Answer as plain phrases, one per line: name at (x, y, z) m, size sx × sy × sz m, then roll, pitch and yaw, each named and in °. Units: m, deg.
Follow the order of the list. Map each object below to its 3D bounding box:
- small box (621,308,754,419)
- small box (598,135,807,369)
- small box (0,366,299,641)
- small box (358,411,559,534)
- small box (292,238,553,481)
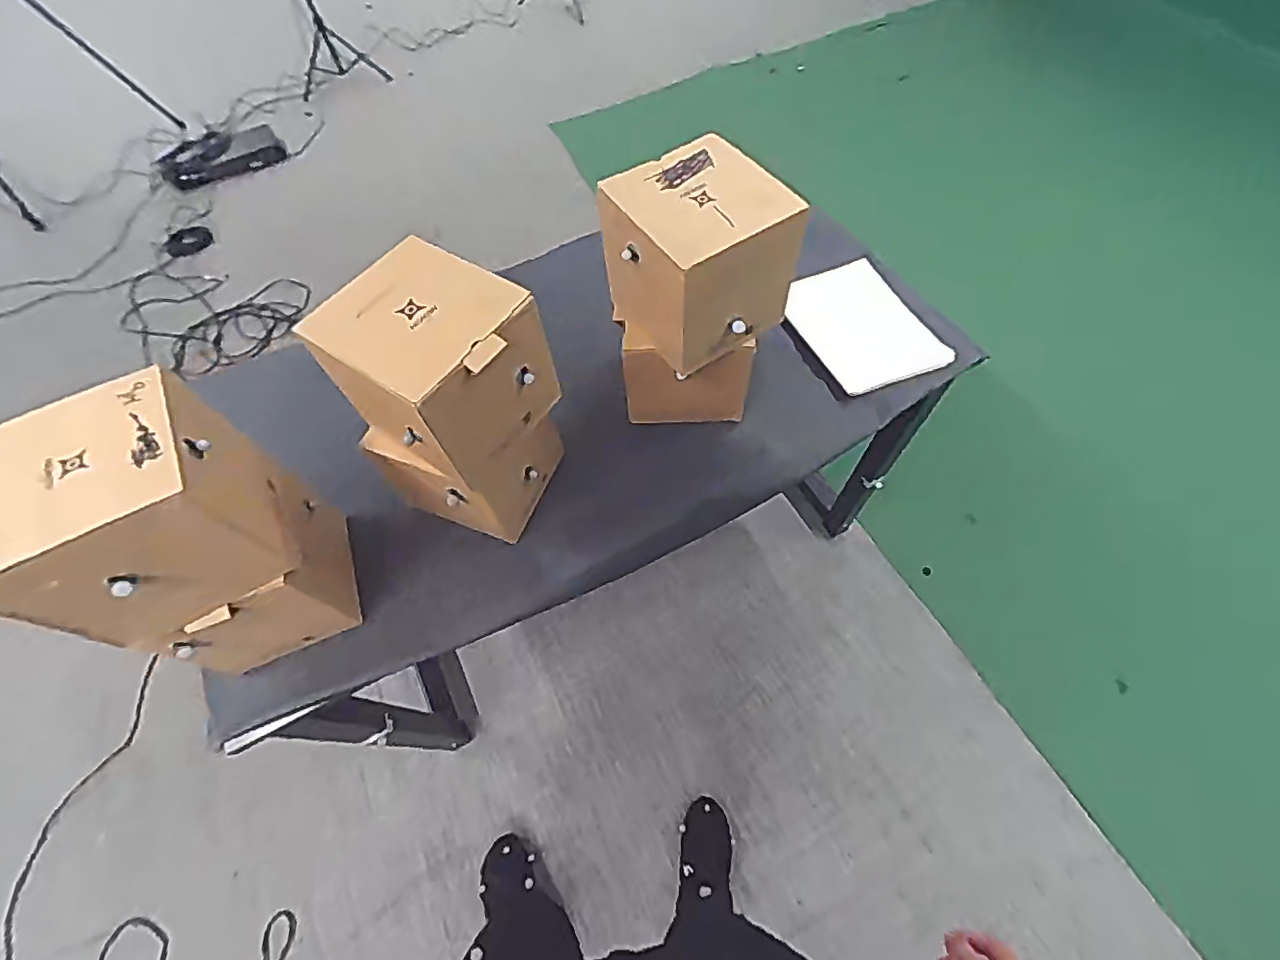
small box at (0.067, -0.203, 0.808) m, size 0.179 × 0.176 × 0.168 m, roll -1°, pitch 61°, yaw 4°
small box at (0.068, -0.270, 0.657) m, size 0.168 × 0.176 × 0.179 m, roll -31°, pitch 64°, yaw -12°
small box at (-0.479, 0.031, 0.524) m, size 0.179 × 0.176 × 0.168 m, roll -29°, pitch 63°, yaw -12°
small box at (-0.229, -0.044, 0.738) m, size 0.179 × 0.176 × 0.168 m, roll 18°, pitch 63°, yaw 12°
small box at (-0.218, -0.122, 0.595) m, size 0.179 × 0.176 × 0.168 m, roll 29°, pitch 66°, yaw 18°
